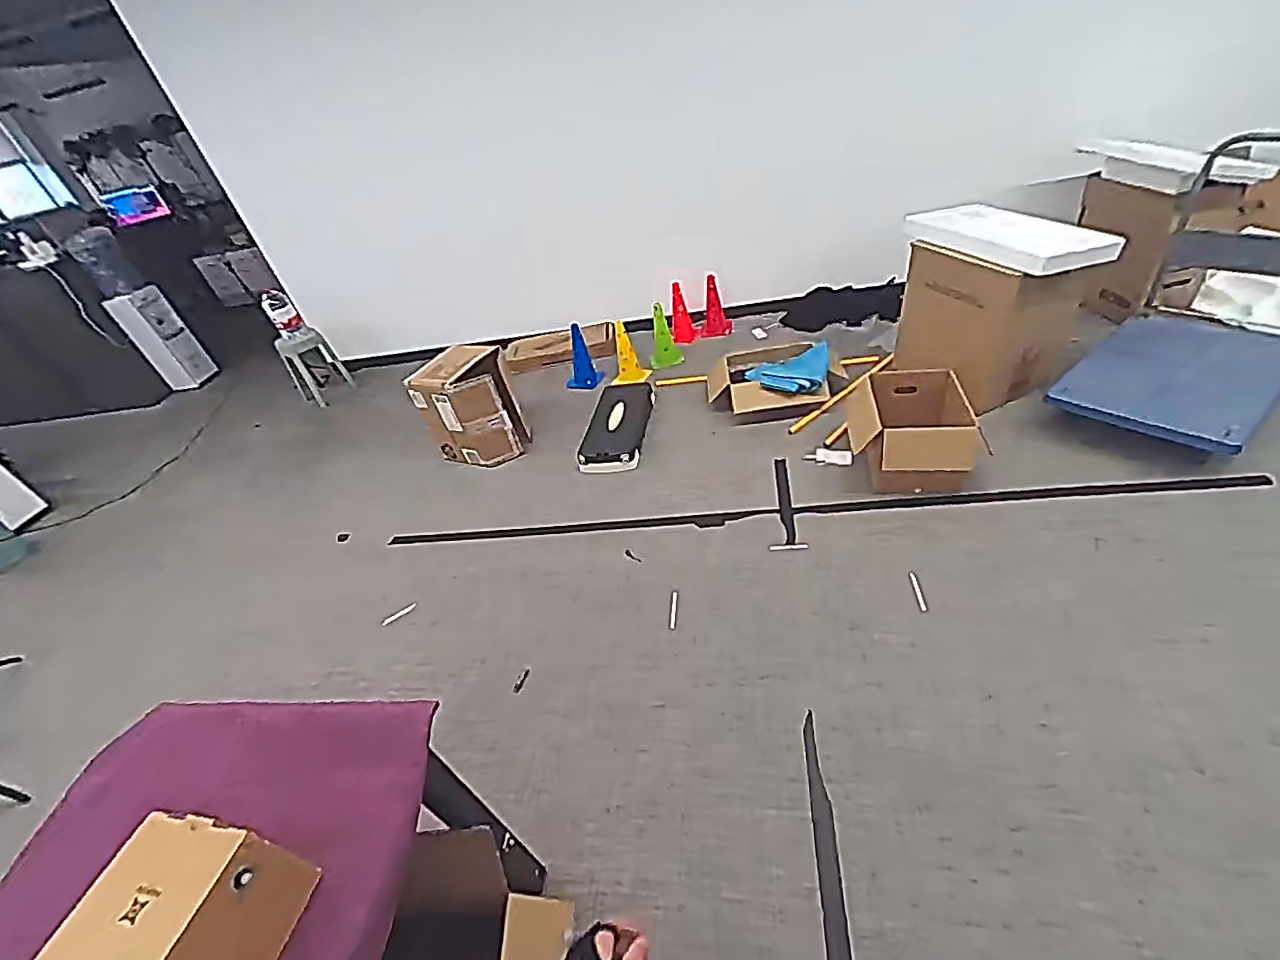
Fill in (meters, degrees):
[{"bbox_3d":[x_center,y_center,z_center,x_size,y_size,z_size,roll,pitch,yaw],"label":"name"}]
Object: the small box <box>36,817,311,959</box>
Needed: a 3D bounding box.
[{"bbox_3d":[-0.551,0.545,0.654,0.168,0.176,0.179,-1,39,15],"label":"small box"}]
